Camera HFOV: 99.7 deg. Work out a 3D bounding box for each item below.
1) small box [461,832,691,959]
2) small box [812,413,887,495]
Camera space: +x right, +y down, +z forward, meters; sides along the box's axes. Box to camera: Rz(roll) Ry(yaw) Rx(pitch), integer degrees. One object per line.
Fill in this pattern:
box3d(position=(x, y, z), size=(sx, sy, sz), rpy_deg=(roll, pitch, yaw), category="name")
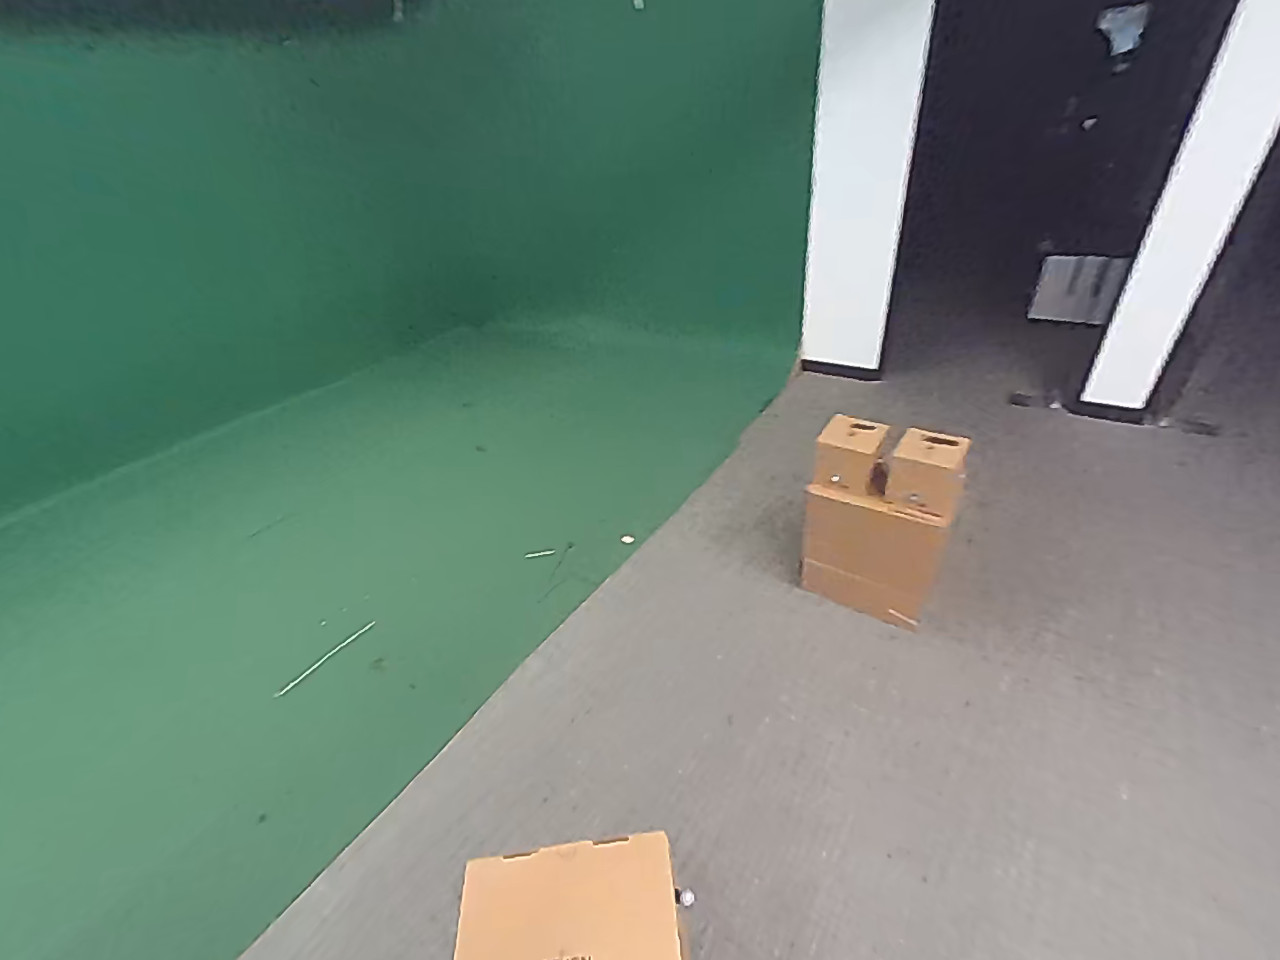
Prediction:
box3d(position=(-0.041, 0.418, 0.436), size=(0.168, 0.176, 0.179), rpy_deg=(-8, 40, 0), category="small box")
box3d(position=(0.655, -0.083, 1.704), size=(0.168, 0.176, 0.179), rpy_deg=(20, 46, 31), category="small box")
